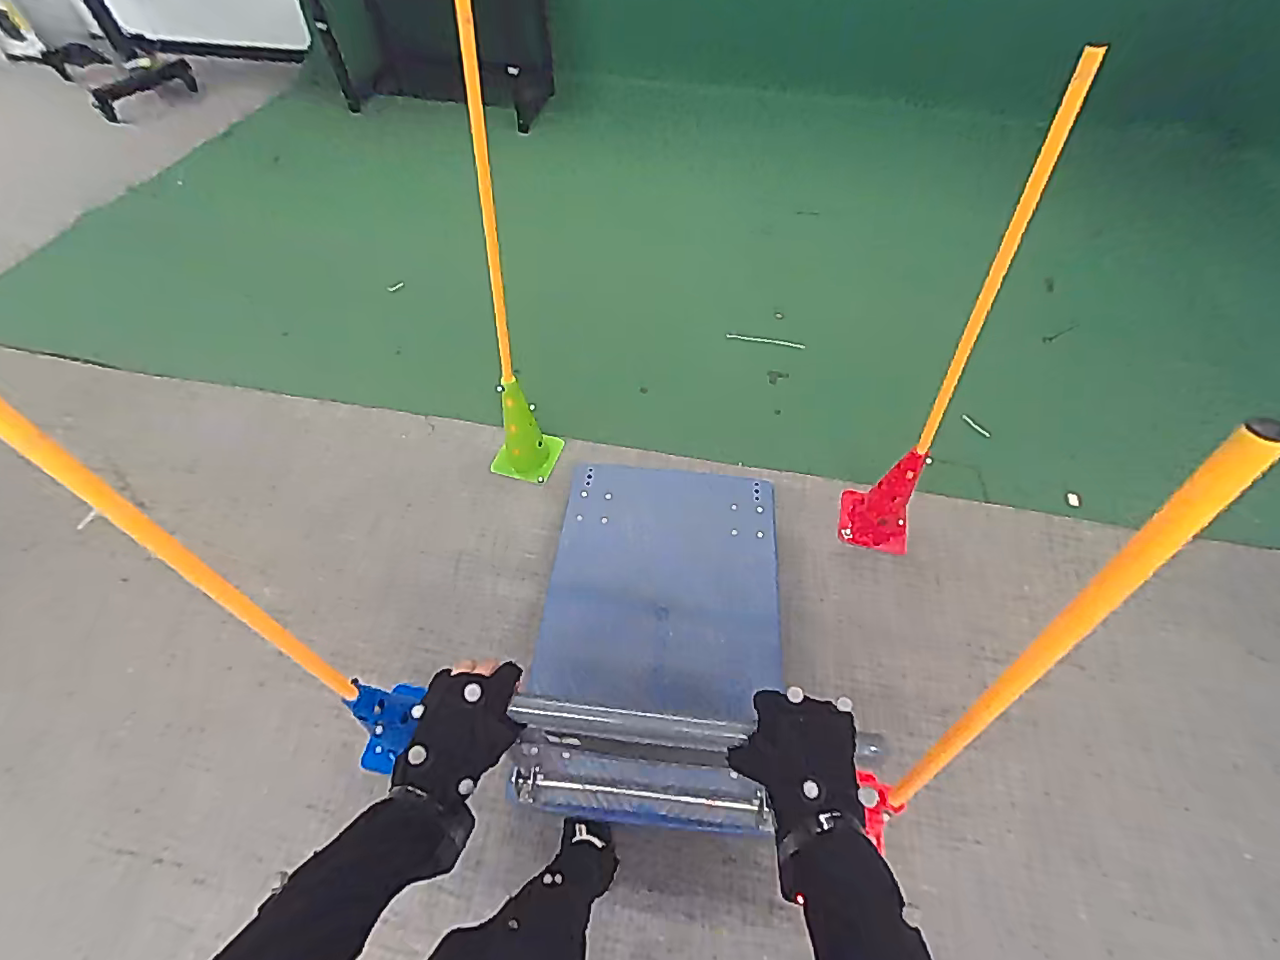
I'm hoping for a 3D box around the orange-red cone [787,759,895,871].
[{"bbox_3d":[0.436,0.661,1.101,0.199,0.360,0.198,8,54,8],"label":"orange-red cone"}]

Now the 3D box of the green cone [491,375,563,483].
[{"bbox_3d":[-0.383,-0.184,1.698,0.202,0.368,0.200,13,55,10],"label":"green cone"}]
